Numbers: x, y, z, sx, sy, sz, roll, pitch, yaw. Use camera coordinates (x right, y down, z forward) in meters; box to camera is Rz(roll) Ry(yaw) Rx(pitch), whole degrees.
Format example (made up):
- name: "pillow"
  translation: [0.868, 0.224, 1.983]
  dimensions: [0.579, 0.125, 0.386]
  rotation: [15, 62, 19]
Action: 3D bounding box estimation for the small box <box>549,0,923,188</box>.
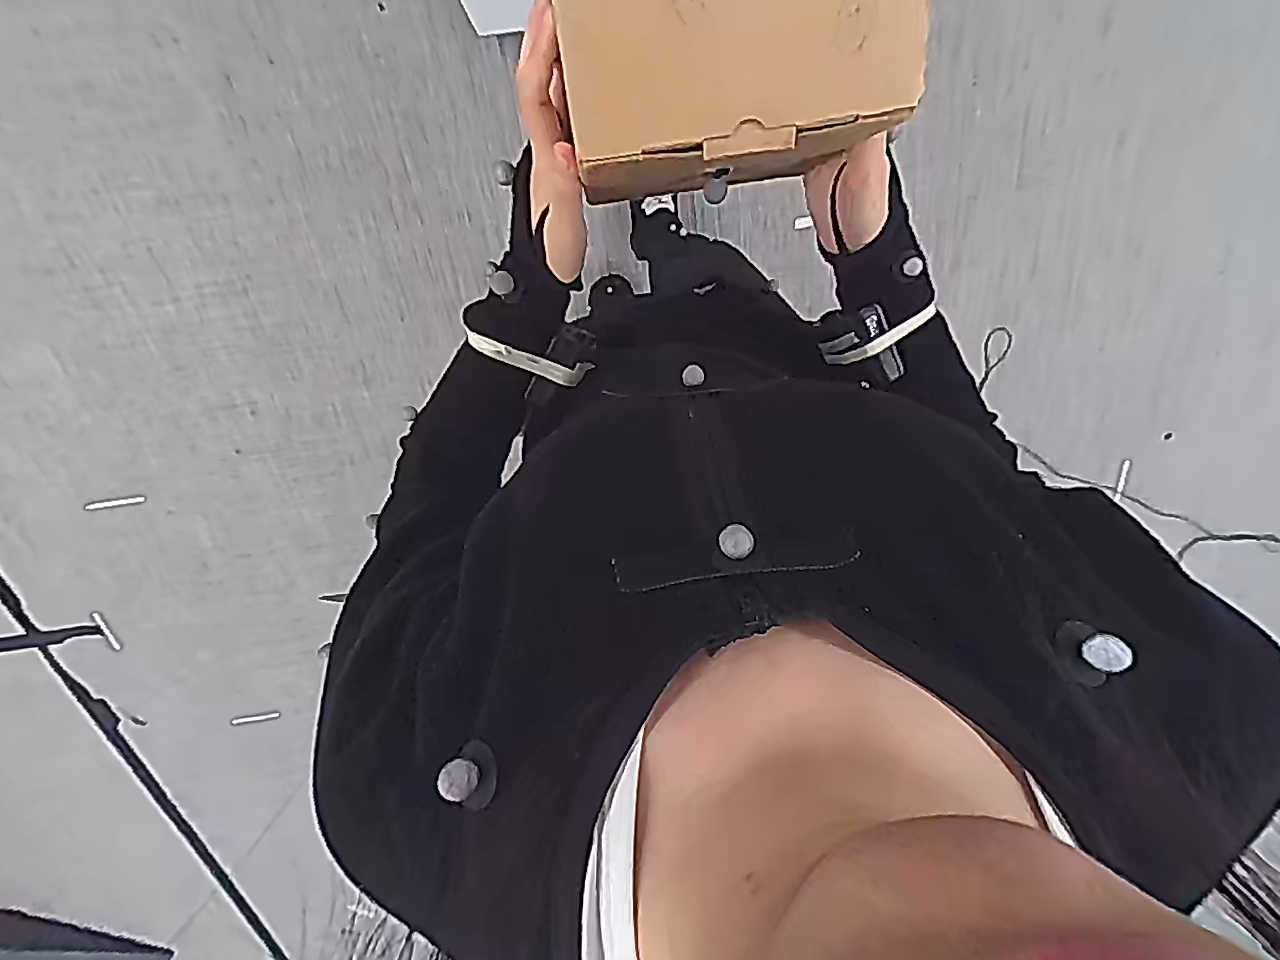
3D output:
- name: "small box"
  translation: [0.034, -0.271, 0.297]
  dimensions: [0.168, 0.176, 0.179]
  rotation: [-9, 112, -1]
